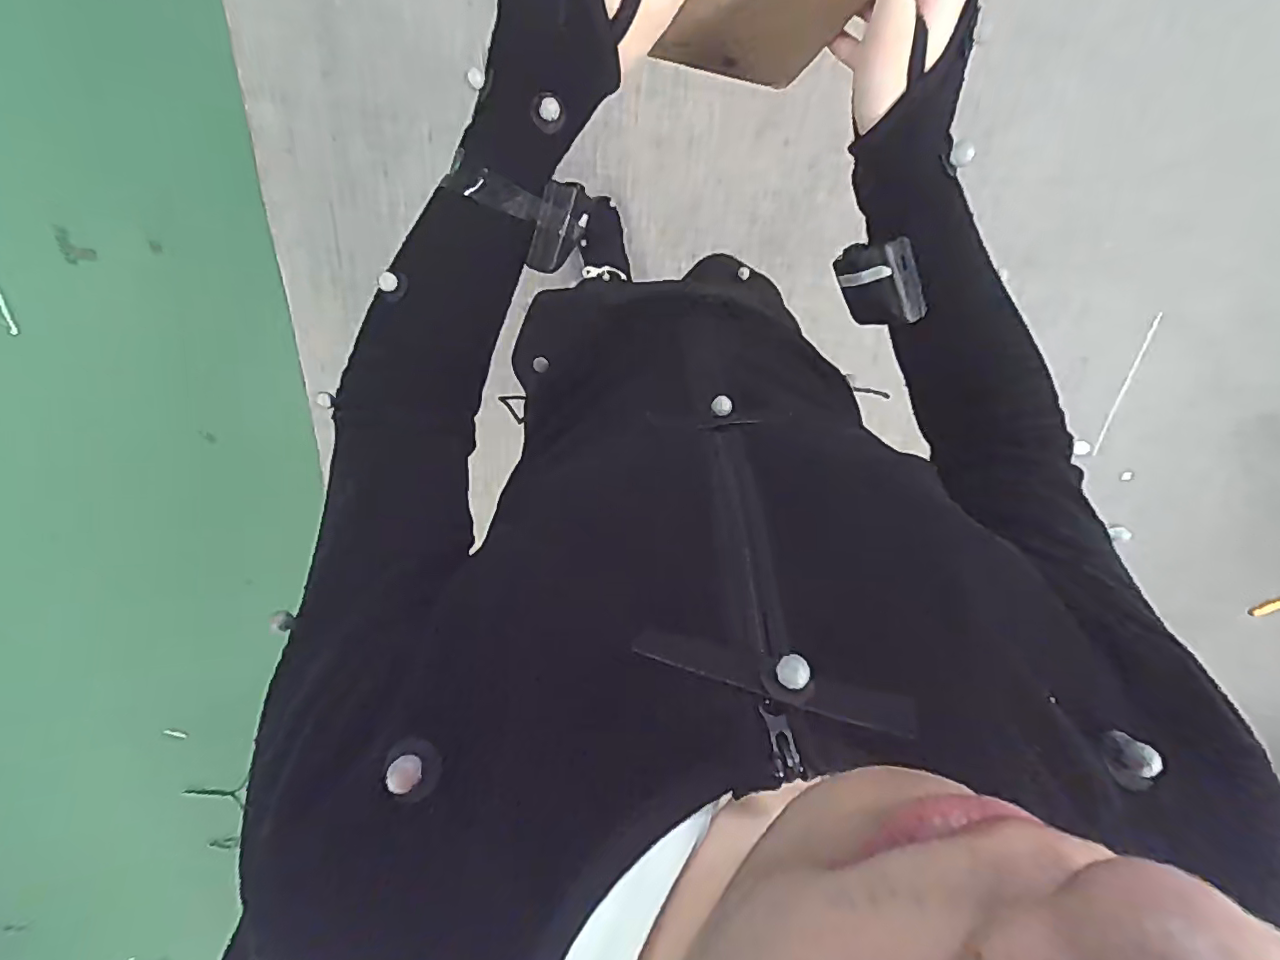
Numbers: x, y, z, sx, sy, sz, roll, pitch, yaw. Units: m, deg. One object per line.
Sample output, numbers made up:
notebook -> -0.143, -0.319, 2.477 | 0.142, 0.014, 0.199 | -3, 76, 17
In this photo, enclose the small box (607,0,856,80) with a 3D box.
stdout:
small box -> 0.075, -0.423, 0.363 | 0.168, 0.176, 0.179 | 5, 101, -12
